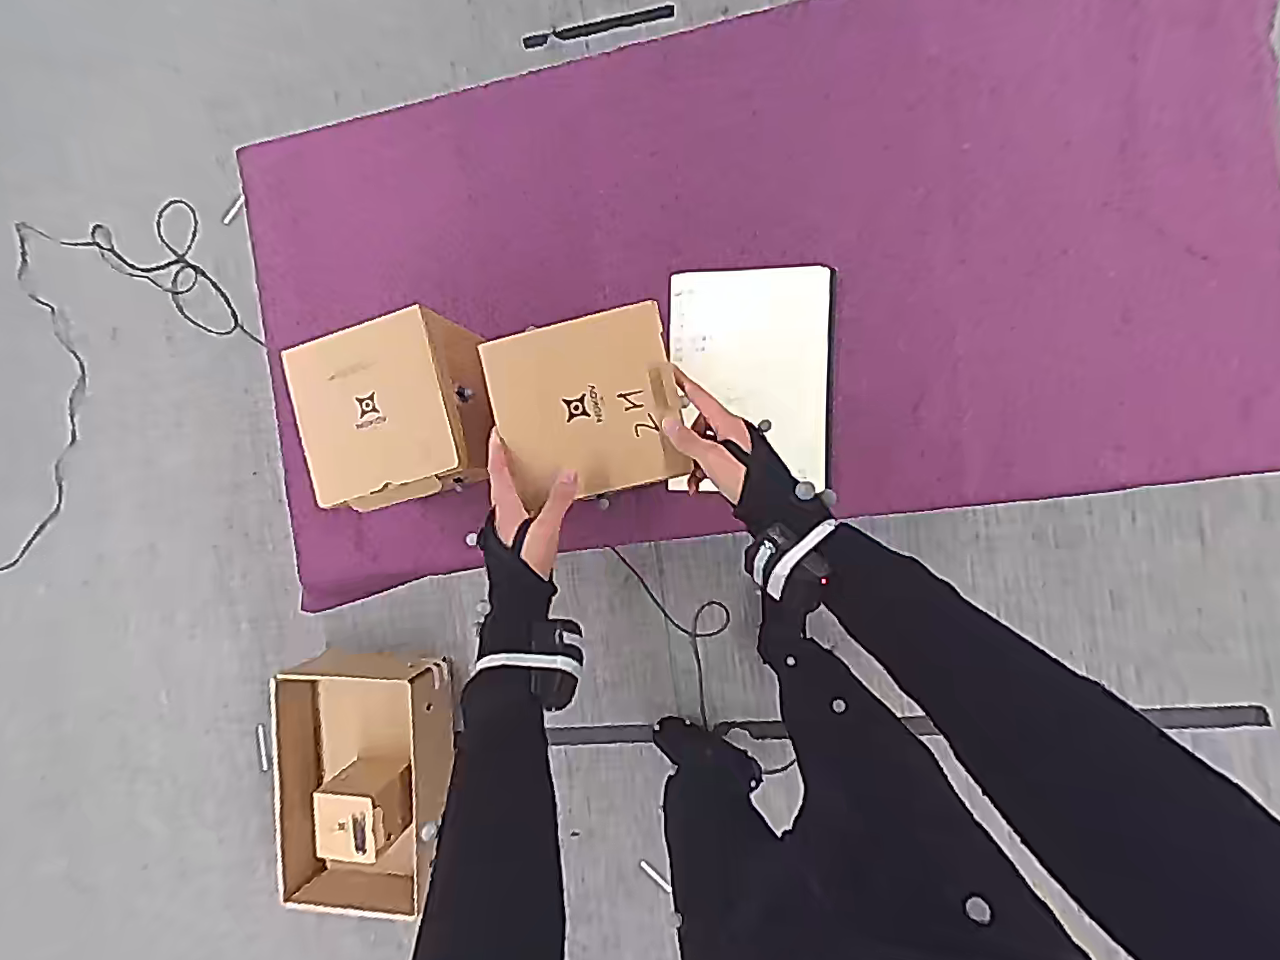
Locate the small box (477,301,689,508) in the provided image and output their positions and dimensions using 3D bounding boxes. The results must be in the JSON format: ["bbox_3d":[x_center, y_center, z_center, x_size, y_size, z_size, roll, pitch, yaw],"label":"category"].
[{"bbox_3d":[-0.049,-0.068,0.583,0.179,0.176,0.168,-14,89,3],"label":"small box"}]

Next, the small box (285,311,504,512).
[{"bbox_3d":[-0.264,-0.072,0.637,0.168,0.176,0.179,-16,89,9],"label":"small box"}]
